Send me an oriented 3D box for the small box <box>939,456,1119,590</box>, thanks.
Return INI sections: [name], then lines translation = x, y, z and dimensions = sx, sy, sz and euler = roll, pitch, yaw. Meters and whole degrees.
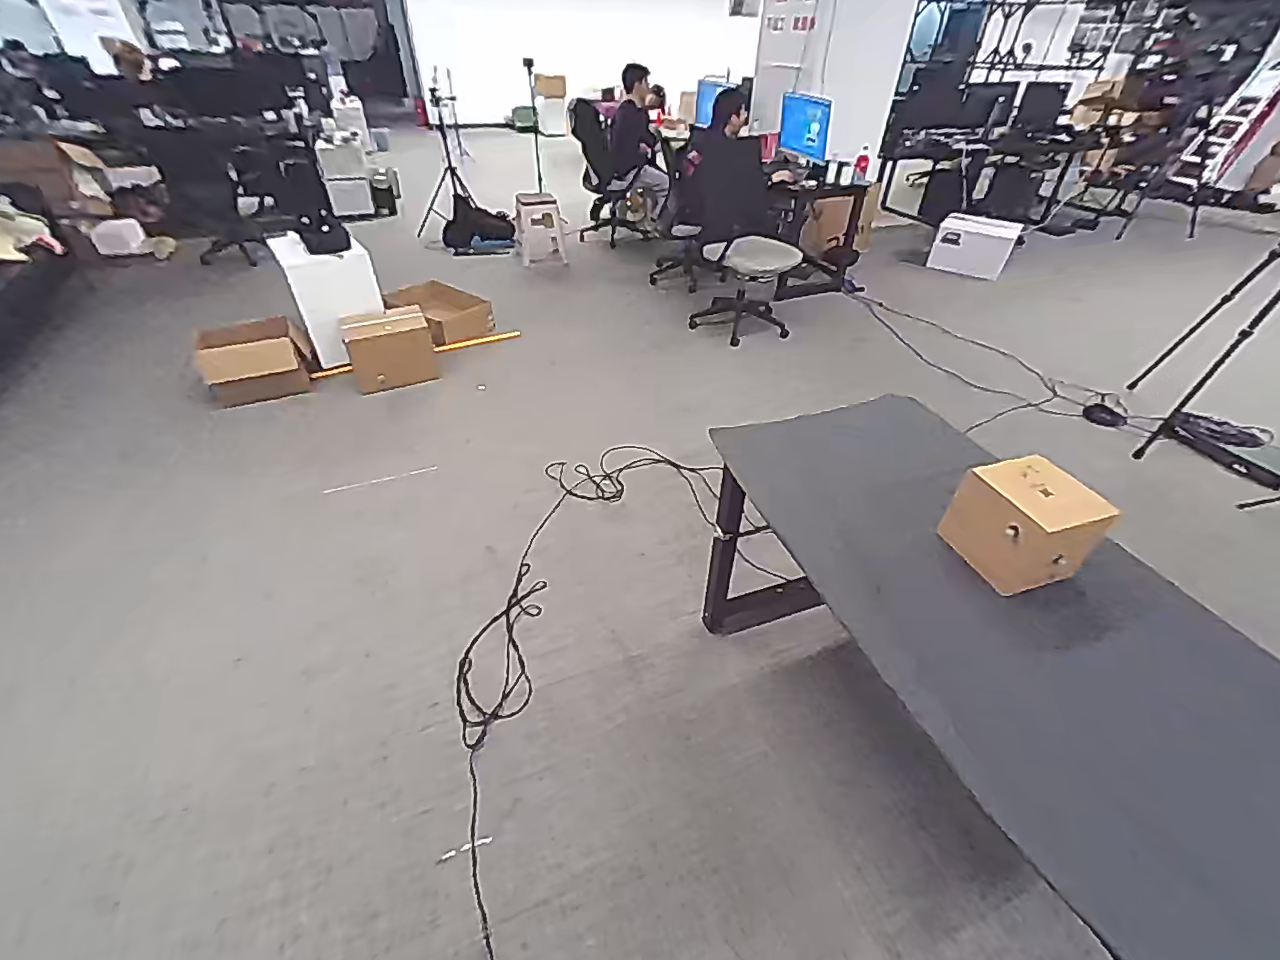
[small box]
translation = 0.702, 0.084, 0.999
dimensions = 0.168, 0.176, 0.179
euler = -10, 41, -14
